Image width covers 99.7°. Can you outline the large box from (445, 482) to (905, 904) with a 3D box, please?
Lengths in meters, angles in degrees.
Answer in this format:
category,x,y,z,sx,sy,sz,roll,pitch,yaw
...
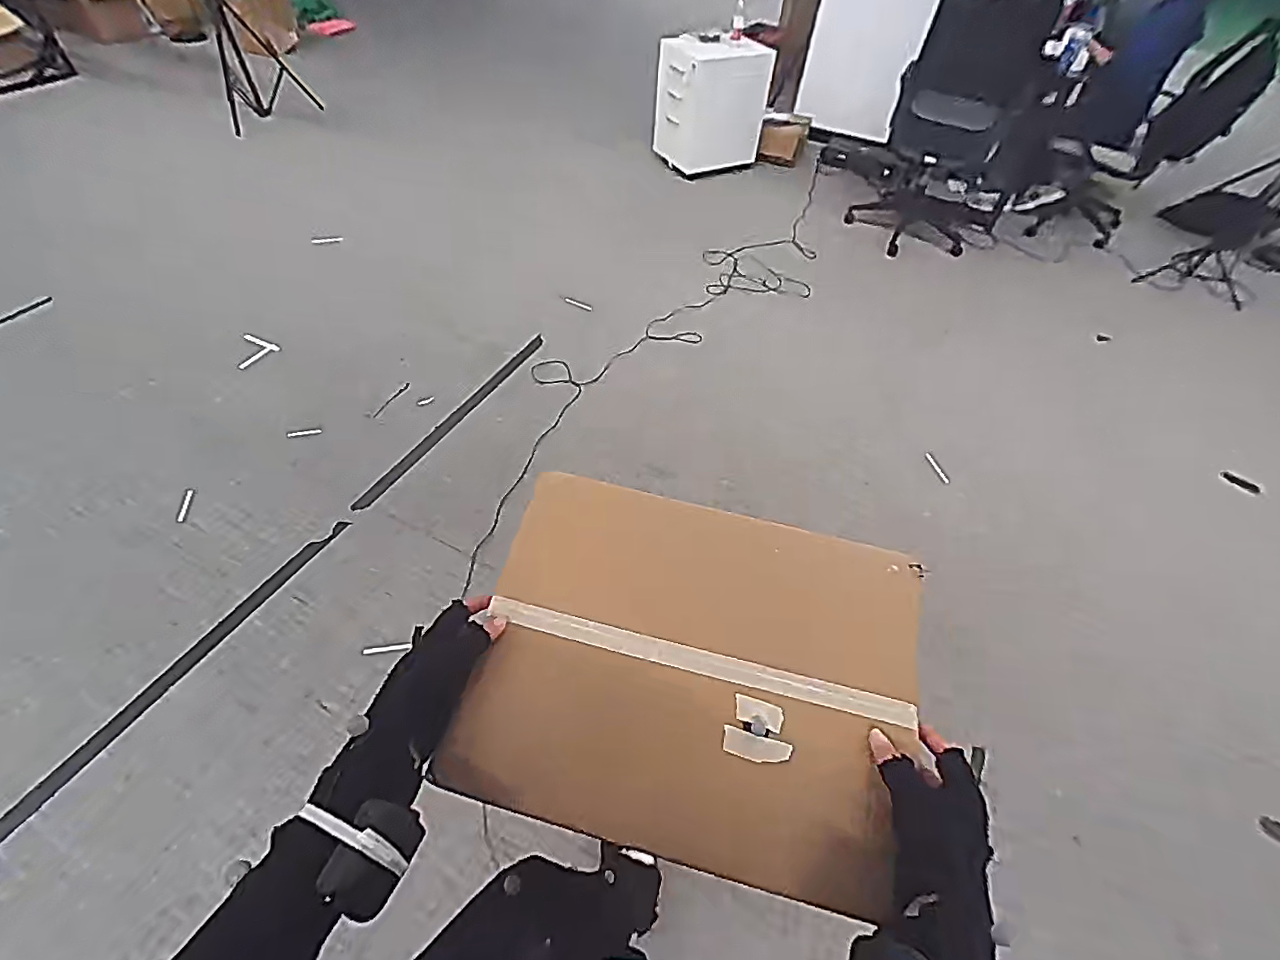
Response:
category,x,y,z,sx,sy,sz,roll,pitch,yaw
large box,0.049,0.241,0.657,0.408,0.320,0.320,13,64,6
